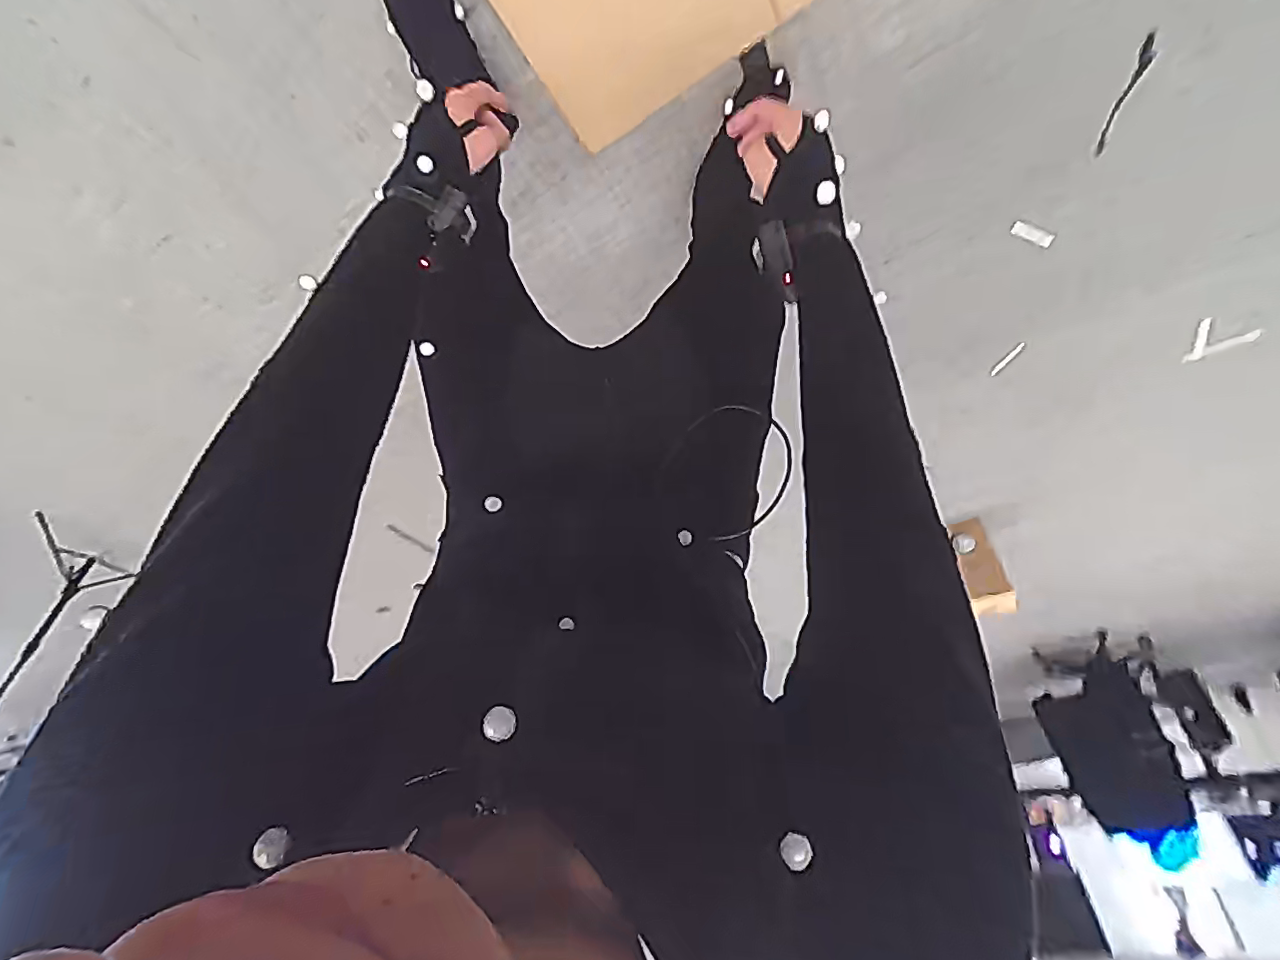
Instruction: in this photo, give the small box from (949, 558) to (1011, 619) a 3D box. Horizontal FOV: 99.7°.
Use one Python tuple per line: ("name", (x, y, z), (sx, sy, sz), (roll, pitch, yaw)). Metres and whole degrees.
("small box", (1.355, 0.433, 2.157), (0.168, 0.176, 0.179), (-19, 138, 21))
